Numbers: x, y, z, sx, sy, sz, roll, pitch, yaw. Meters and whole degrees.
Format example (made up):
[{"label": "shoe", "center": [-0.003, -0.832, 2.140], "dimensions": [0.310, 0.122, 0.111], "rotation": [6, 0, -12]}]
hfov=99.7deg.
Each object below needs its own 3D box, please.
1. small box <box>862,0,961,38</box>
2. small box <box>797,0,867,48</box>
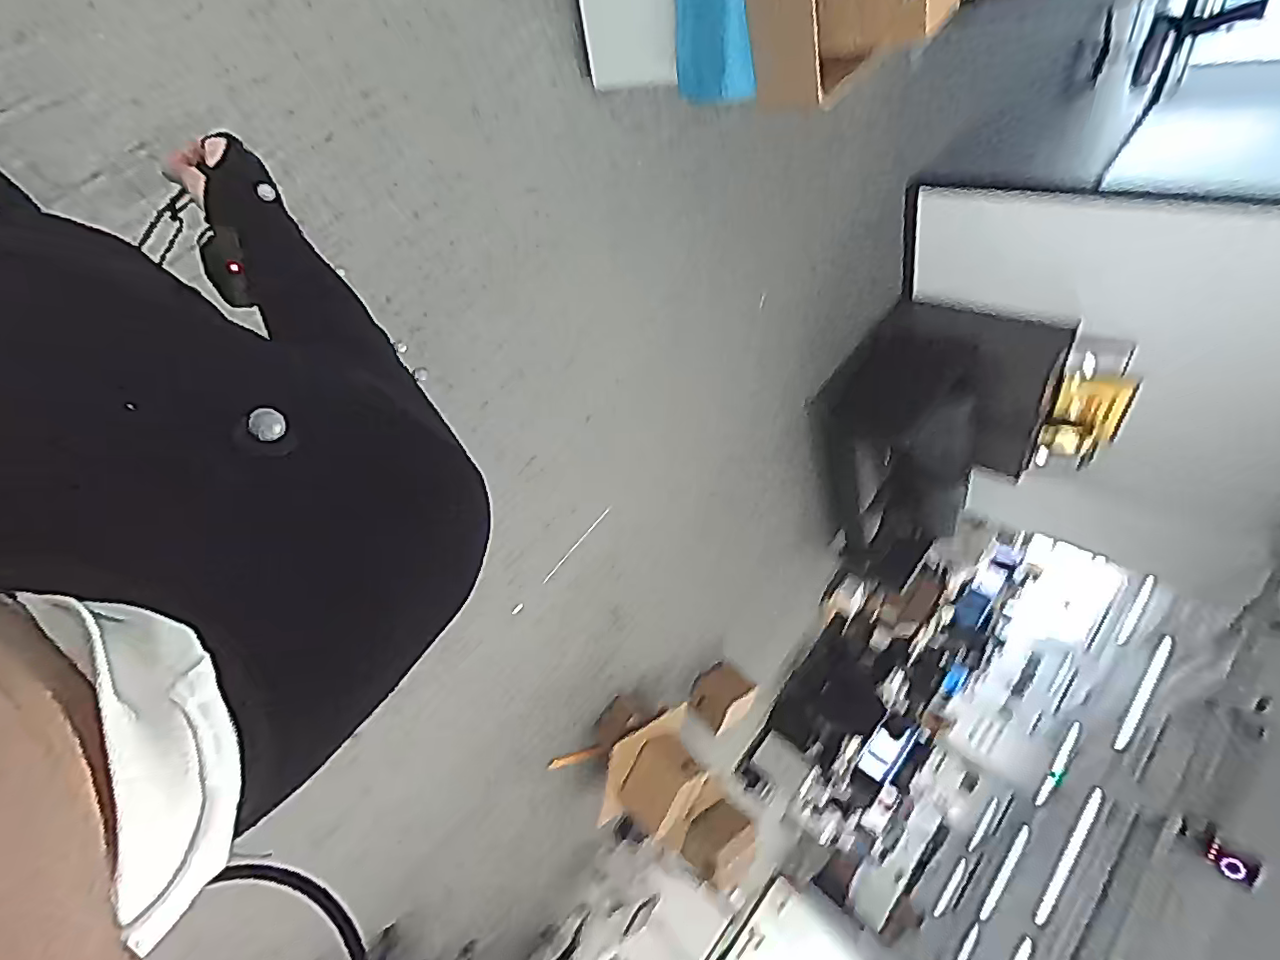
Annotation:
[{"label": "small box", "center": [0.586, -1.090, 1.150], "dimensions": [0.168, 0.176, 0.179], "rotation": [-51, 141, -14]}, {"label": "small box", "center": [0.473, -1.148, 1.251], "dimensions": [0.168, 0.176, 0.179], "rotation": [-50, 140, -15]}]
